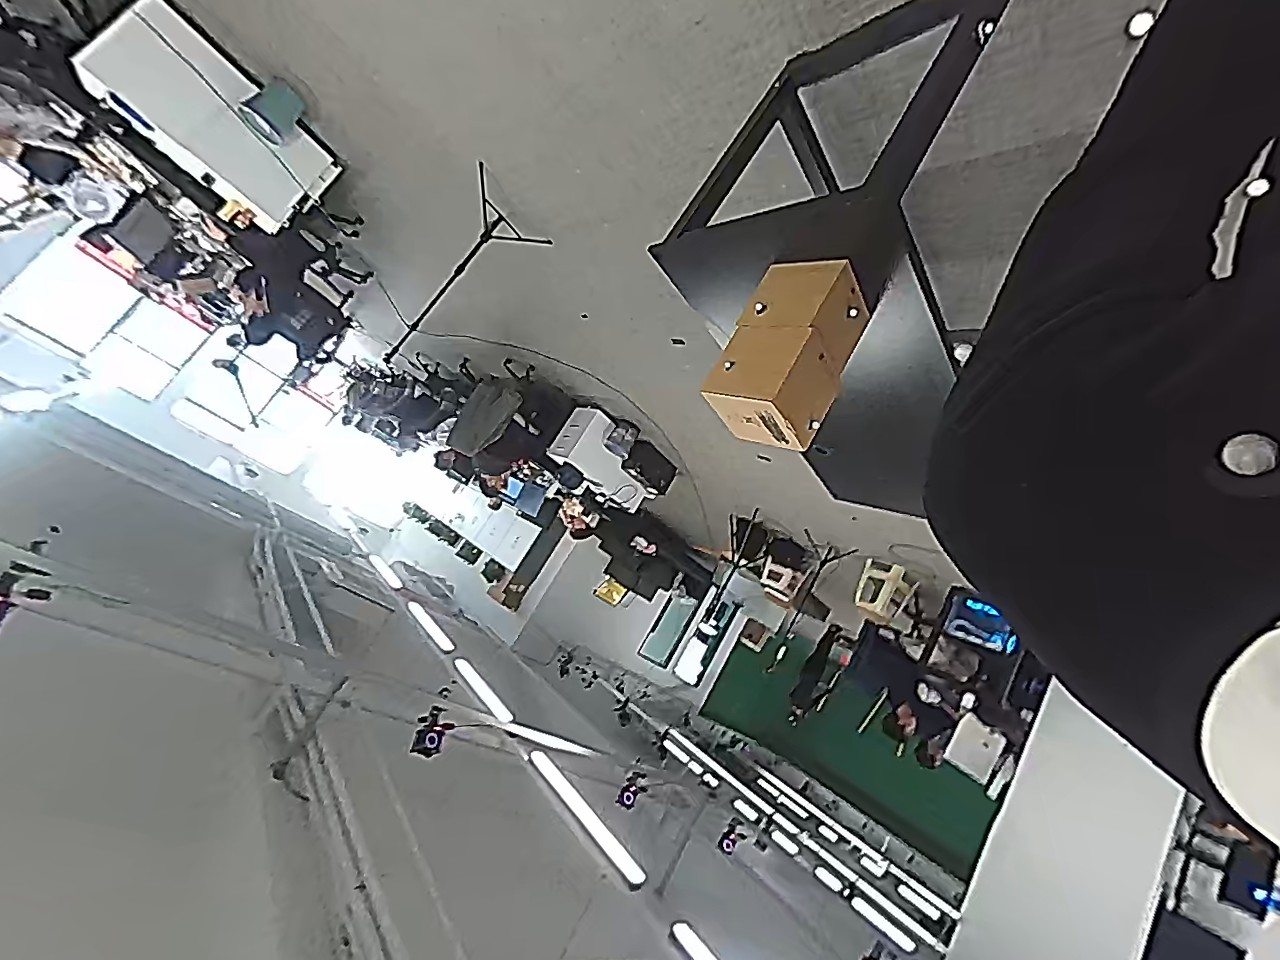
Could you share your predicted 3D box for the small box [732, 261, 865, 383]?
[{"bbox_3d":[0.325,-0.323,1.101,0.179,0.176,0.168,19,164,45],"label":"small box"}]
